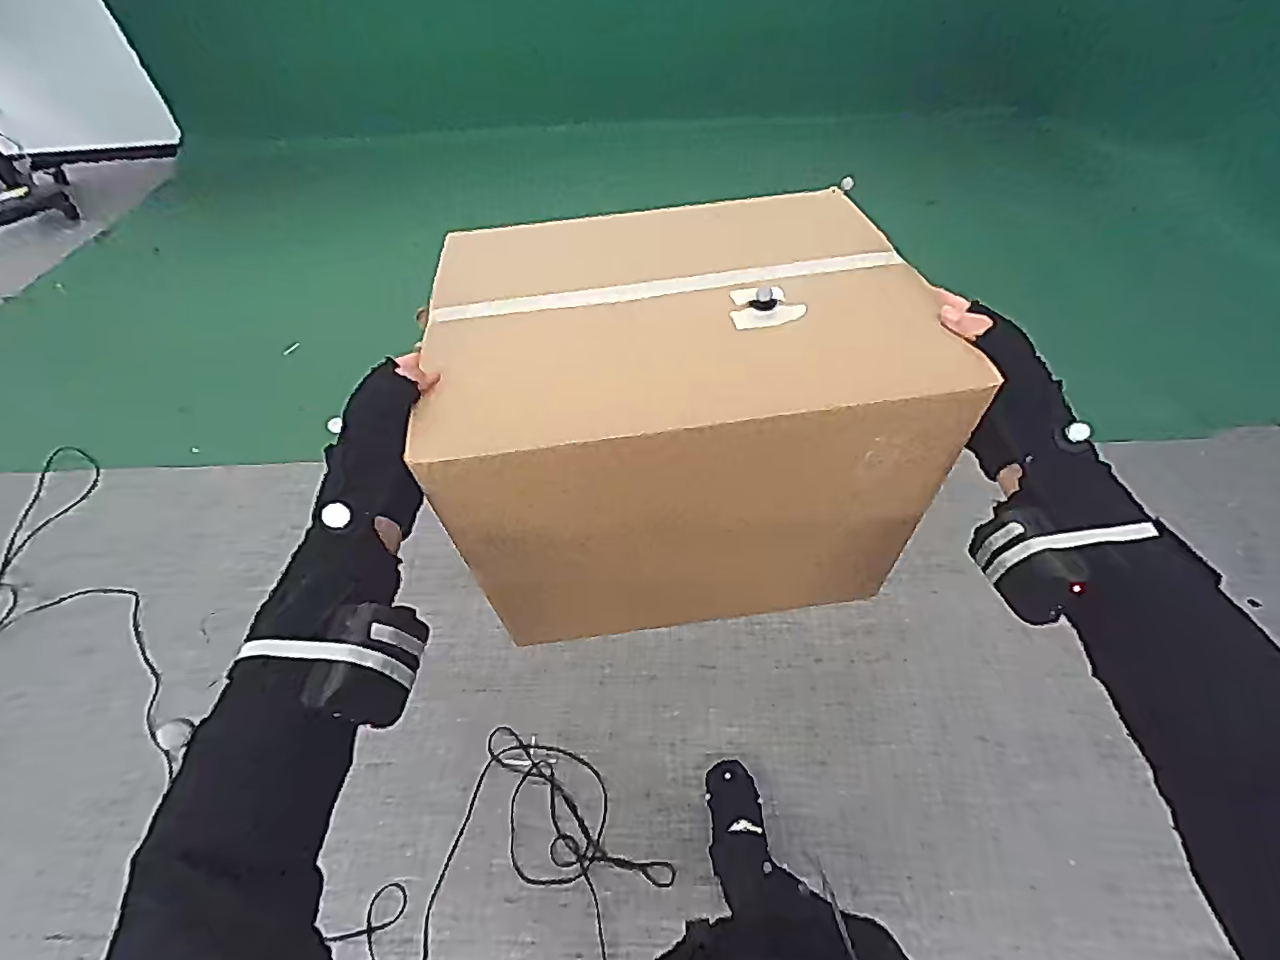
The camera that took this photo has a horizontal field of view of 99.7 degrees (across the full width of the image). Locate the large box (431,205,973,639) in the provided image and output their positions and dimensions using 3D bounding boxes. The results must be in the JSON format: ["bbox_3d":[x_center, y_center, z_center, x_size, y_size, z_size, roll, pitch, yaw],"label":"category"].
[{"bbox_3d":[0.034,-0.058,0.589,0.408,0.320,0.320,-8,51,-3],"label":"large box"}]
